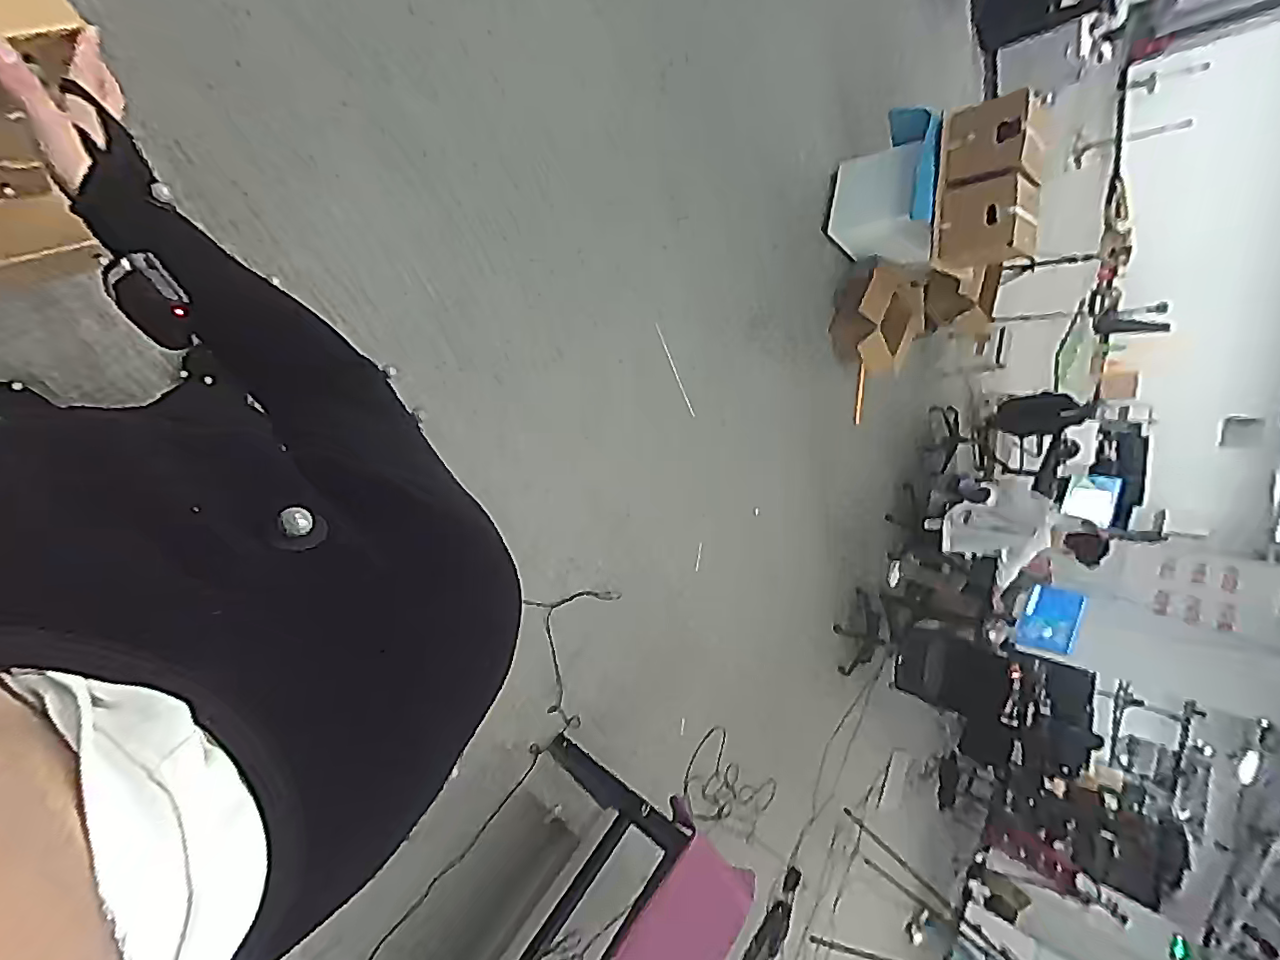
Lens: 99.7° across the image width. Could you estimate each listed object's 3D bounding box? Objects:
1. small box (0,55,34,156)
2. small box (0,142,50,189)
[{"bbox_3d":[-0.800,-0.449,0.568,0.179,0.176,0.168,-33,120,-34],"label":"small box"},{"bbox_3d":[-0.909,-0.475,0.684,0.168,0.176,0.179,-32,119,-35],"label":"small box"}]
